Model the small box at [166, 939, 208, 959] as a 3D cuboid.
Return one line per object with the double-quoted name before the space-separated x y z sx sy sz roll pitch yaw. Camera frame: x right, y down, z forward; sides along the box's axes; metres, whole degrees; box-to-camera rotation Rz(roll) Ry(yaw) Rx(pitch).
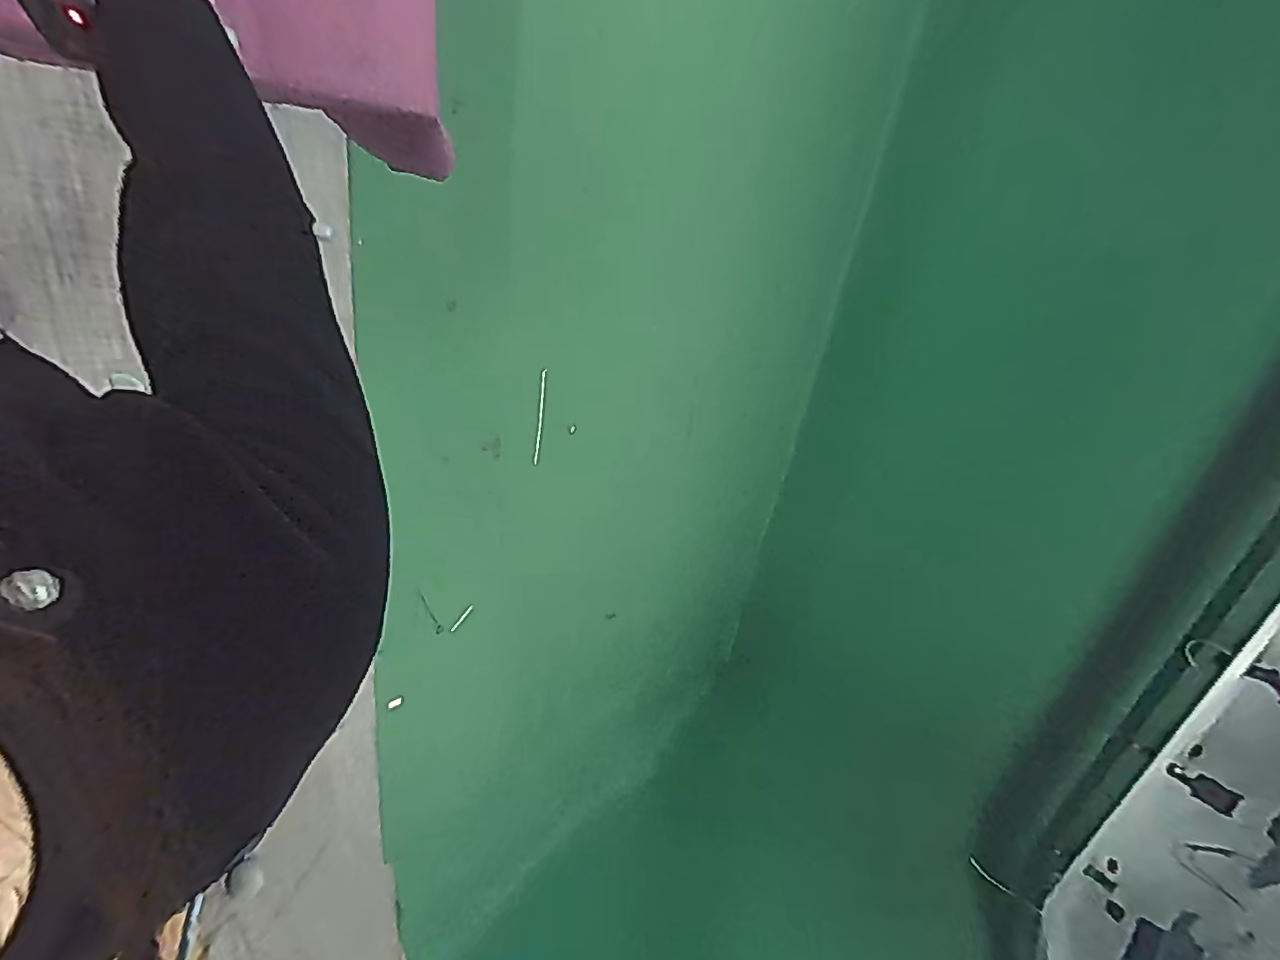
"small box" -1.148 1.298 1.320 0.179 0.176 0.168 -20 130 -47
